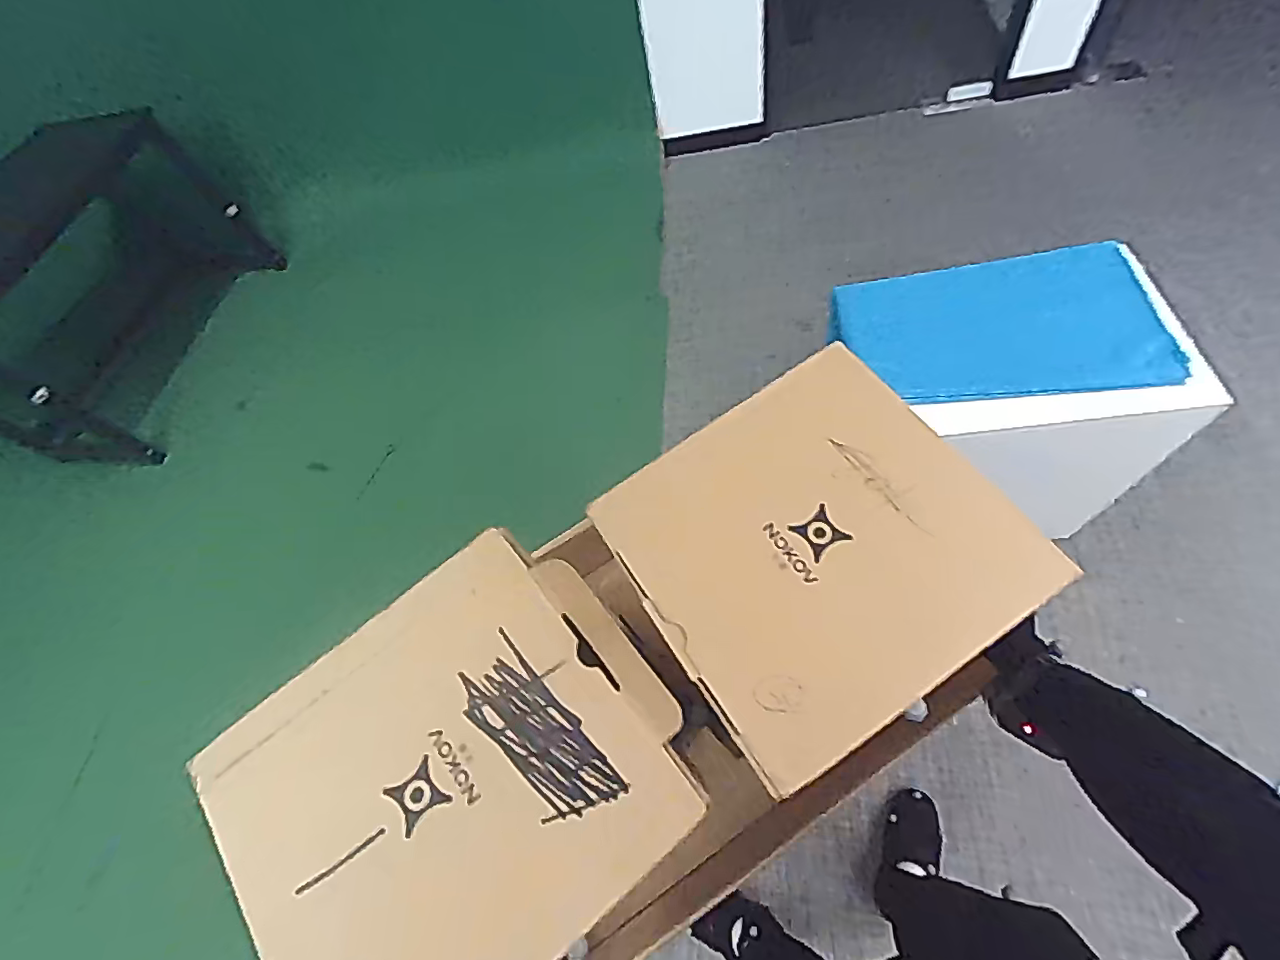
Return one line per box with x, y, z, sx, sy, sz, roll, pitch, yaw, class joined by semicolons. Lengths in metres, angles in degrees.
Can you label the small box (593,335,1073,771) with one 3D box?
0.098;0.052;0.344;0.179;0.176;0.168;-33;67;-6;small box
